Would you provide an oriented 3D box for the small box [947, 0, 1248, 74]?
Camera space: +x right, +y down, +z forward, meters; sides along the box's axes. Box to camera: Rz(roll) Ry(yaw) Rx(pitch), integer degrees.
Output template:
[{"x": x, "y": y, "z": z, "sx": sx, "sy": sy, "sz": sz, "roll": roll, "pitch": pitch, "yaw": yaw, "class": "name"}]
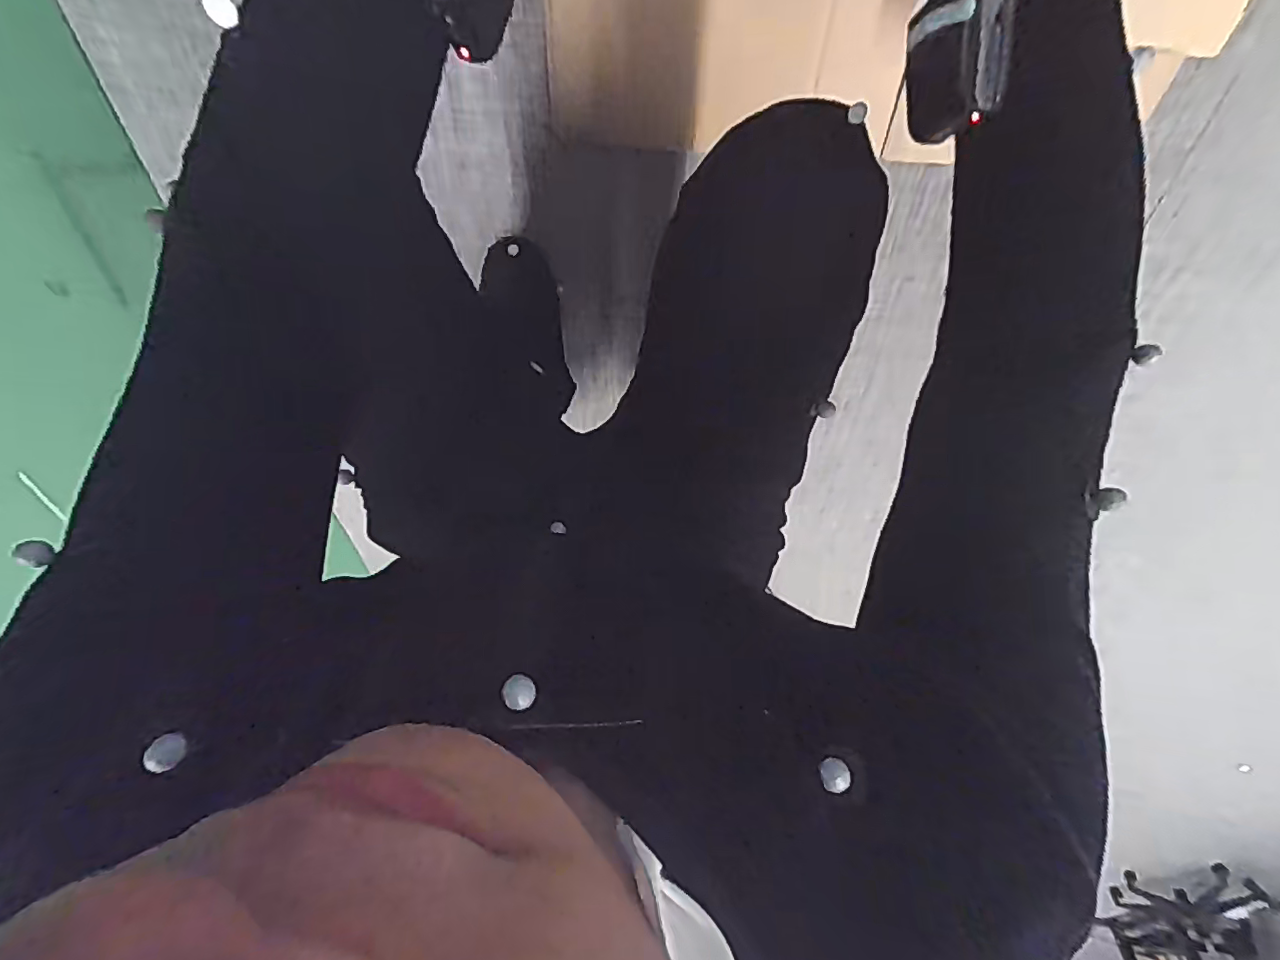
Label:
[{"x": 0.413, "y": -0.475, "z": 0.471, "sx": 0.179, "sy": 0.176, "sz": 0.168, "roll": 6, "pitch": 133, "yaw": 0, "class": "small box"}]
